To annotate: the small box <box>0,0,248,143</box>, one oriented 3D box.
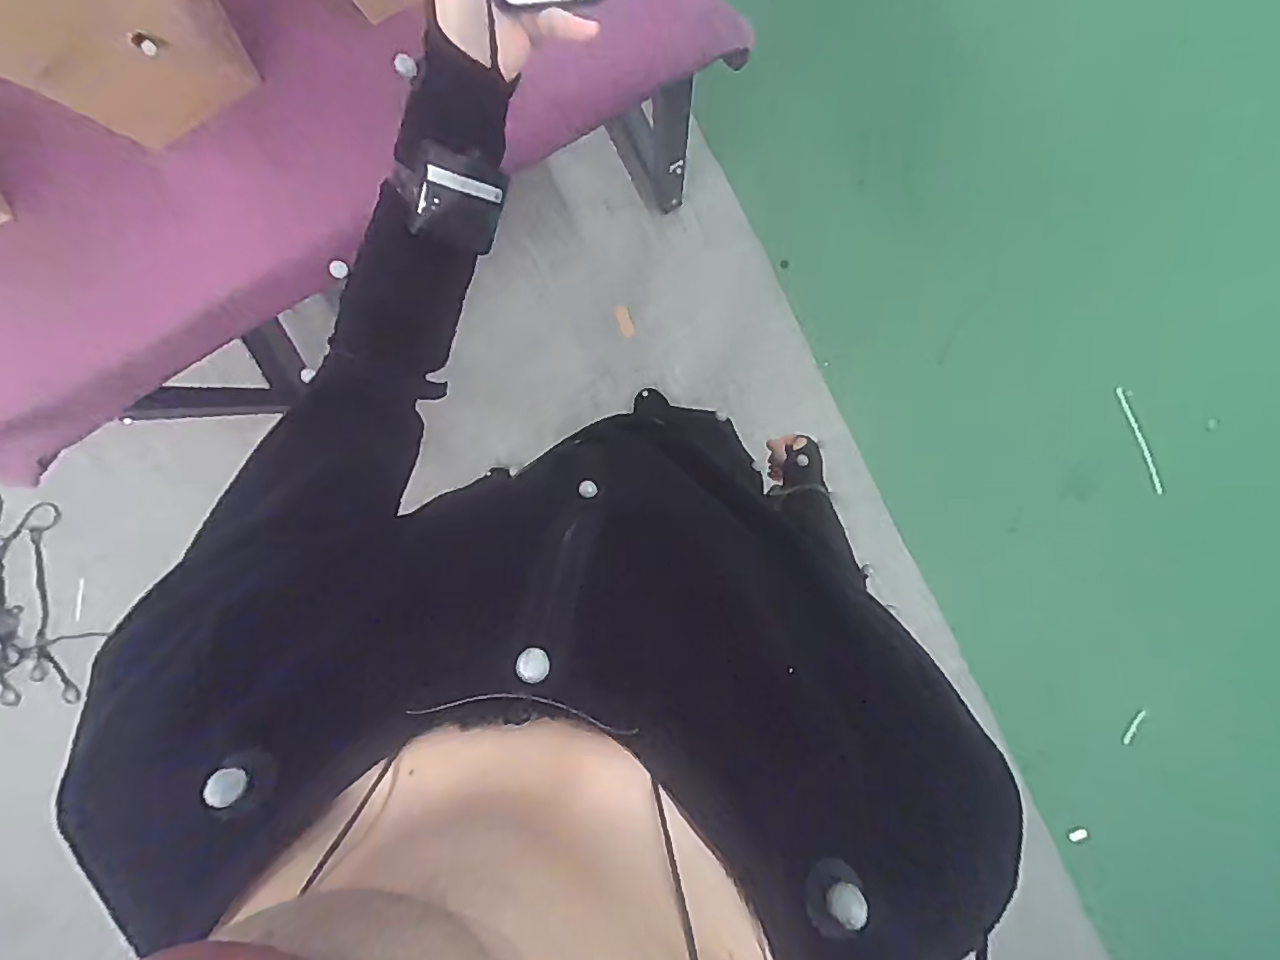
[{"bbox_3d":[-0.597,-0.533,0.614,0.179,0.176,0.168,-25,96,6],"label":"small box"}]
